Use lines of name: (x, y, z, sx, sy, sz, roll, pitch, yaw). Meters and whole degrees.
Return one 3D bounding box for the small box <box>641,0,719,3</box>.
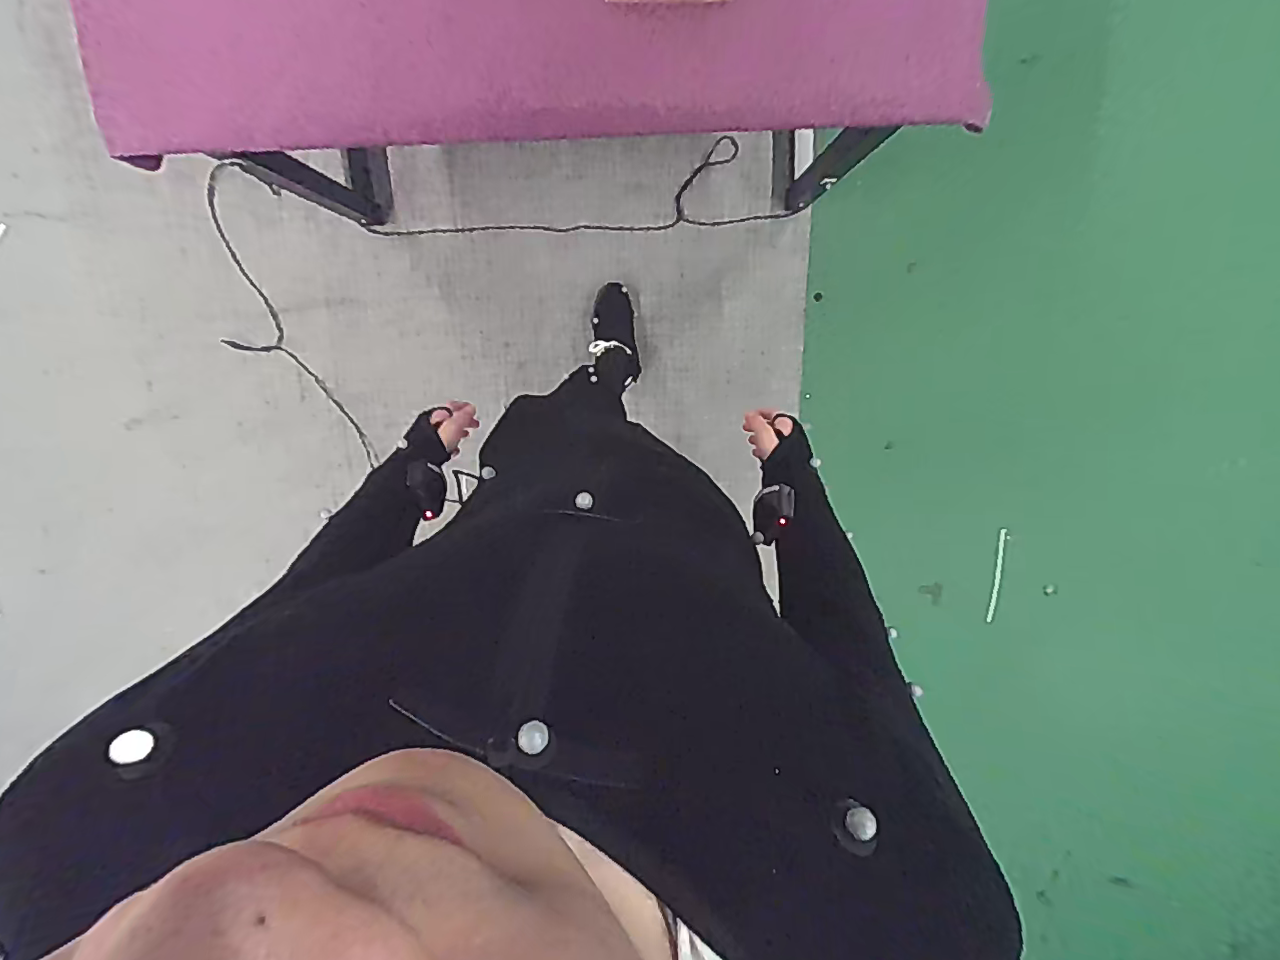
small box: (0.041, -0.692, 0.619, 0.179, 0.176, 0.168, 0, 105, -1)
